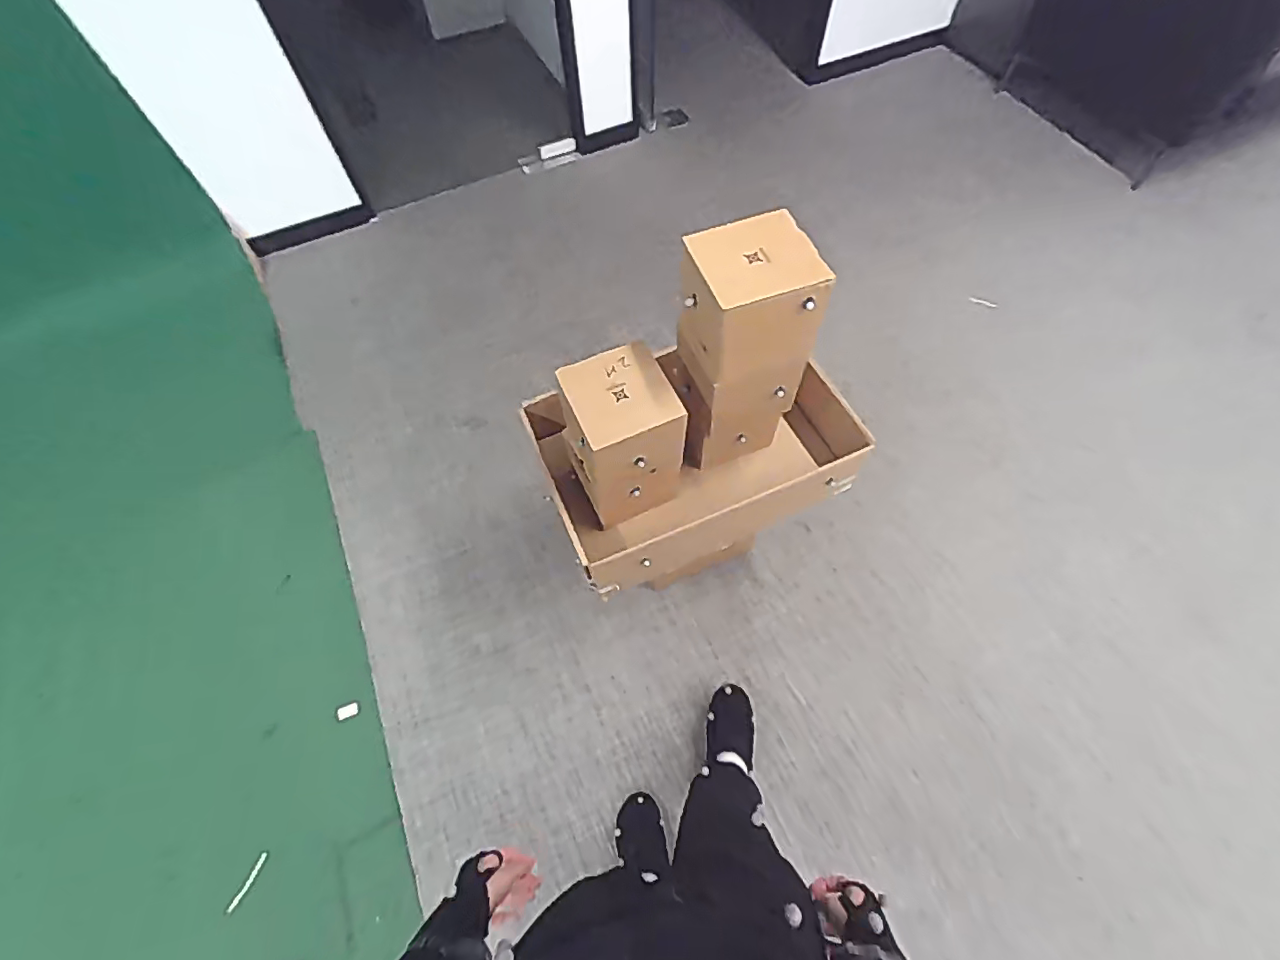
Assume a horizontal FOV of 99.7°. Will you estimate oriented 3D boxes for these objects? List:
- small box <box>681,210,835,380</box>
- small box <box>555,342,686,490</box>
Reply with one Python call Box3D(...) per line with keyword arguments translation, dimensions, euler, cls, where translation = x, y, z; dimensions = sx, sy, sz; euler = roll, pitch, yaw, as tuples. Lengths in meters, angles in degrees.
Box3D(translation=(0.173, -0.283, 0.853), dimensions=(0.179, 0.176, 0.168), euler=(-18, 63, -6), cls="small box")
Box3D(translation=(-0.032, -0.102, 0.945), dimensions=(0.168, 0.176, 0.179), euler=(-22, 64, -10), cls="small box")
